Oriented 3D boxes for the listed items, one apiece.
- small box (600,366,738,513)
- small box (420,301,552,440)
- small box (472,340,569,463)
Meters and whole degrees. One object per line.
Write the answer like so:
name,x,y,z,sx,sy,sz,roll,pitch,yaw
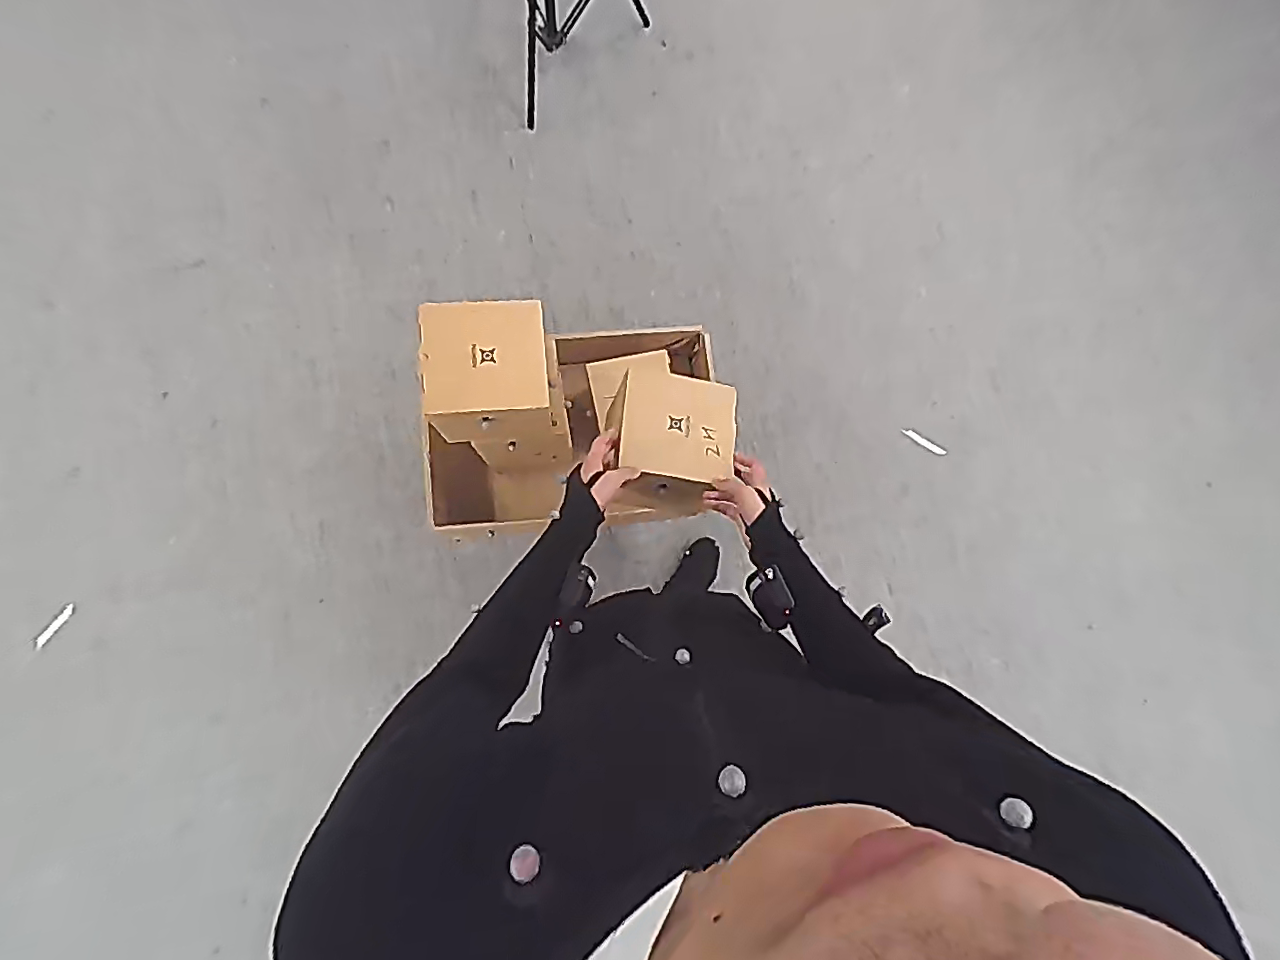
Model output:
small box,0.039,-0.054,0.857,0.179,0.176,0.168,10,71,-12
small box,-0.229,-0.163,0.844,0.179,0.176,0.168,-5,82,-8
small box,-0.224,-0.141,1.007,0.168,0.176,0.179,-8,82,-8
